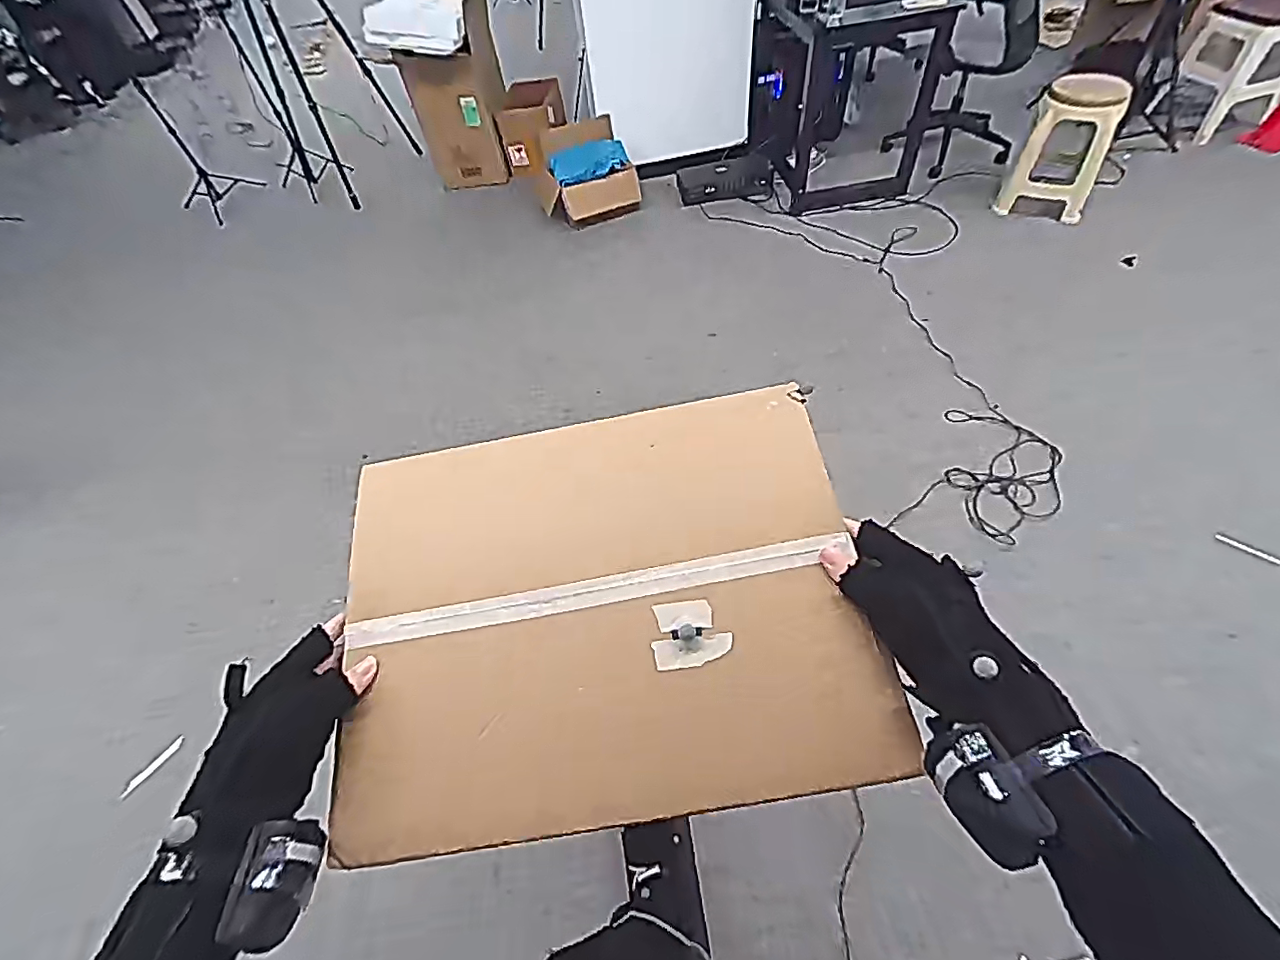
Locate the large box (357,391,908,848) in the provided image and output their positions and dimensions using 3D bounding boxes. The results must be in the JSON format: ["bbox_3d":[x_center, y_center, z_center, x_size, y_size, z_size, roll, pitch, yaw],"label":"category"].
[{"bbox_3d":[-0.015,0.154,0.575,0.408,0.320,0.320,-11,64,2],"label":"large box"}]
